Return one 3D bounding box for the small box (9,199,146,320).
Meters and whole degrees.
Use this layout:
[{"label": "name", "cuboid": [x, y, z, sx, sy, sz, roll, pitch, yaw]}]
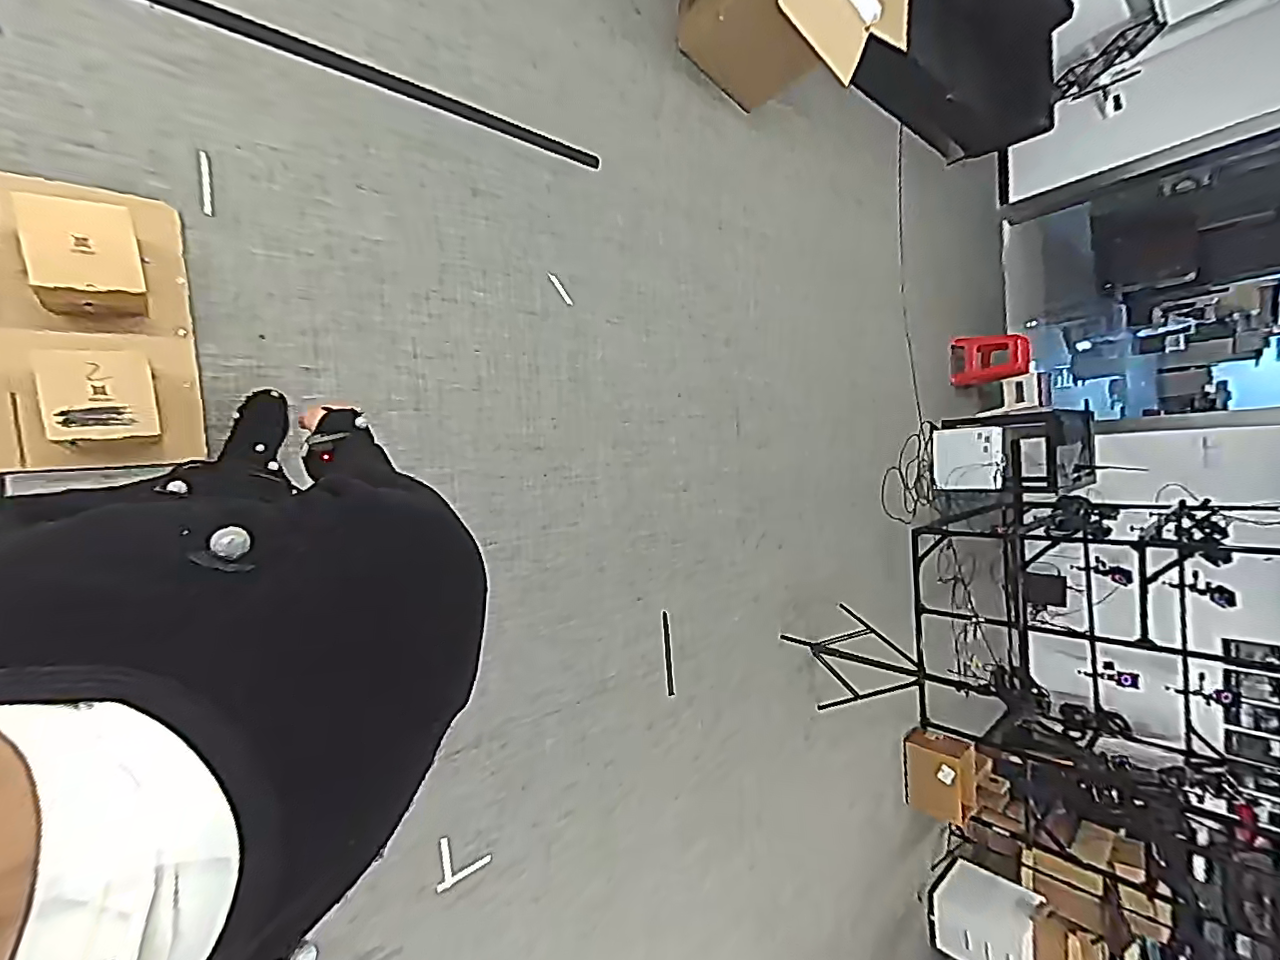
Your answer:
[{"label": "small box", "cuboid": [-1.142, -0.441, 1.110, 0.168, 0.176, 0.179, -12, 96, -40]}]
